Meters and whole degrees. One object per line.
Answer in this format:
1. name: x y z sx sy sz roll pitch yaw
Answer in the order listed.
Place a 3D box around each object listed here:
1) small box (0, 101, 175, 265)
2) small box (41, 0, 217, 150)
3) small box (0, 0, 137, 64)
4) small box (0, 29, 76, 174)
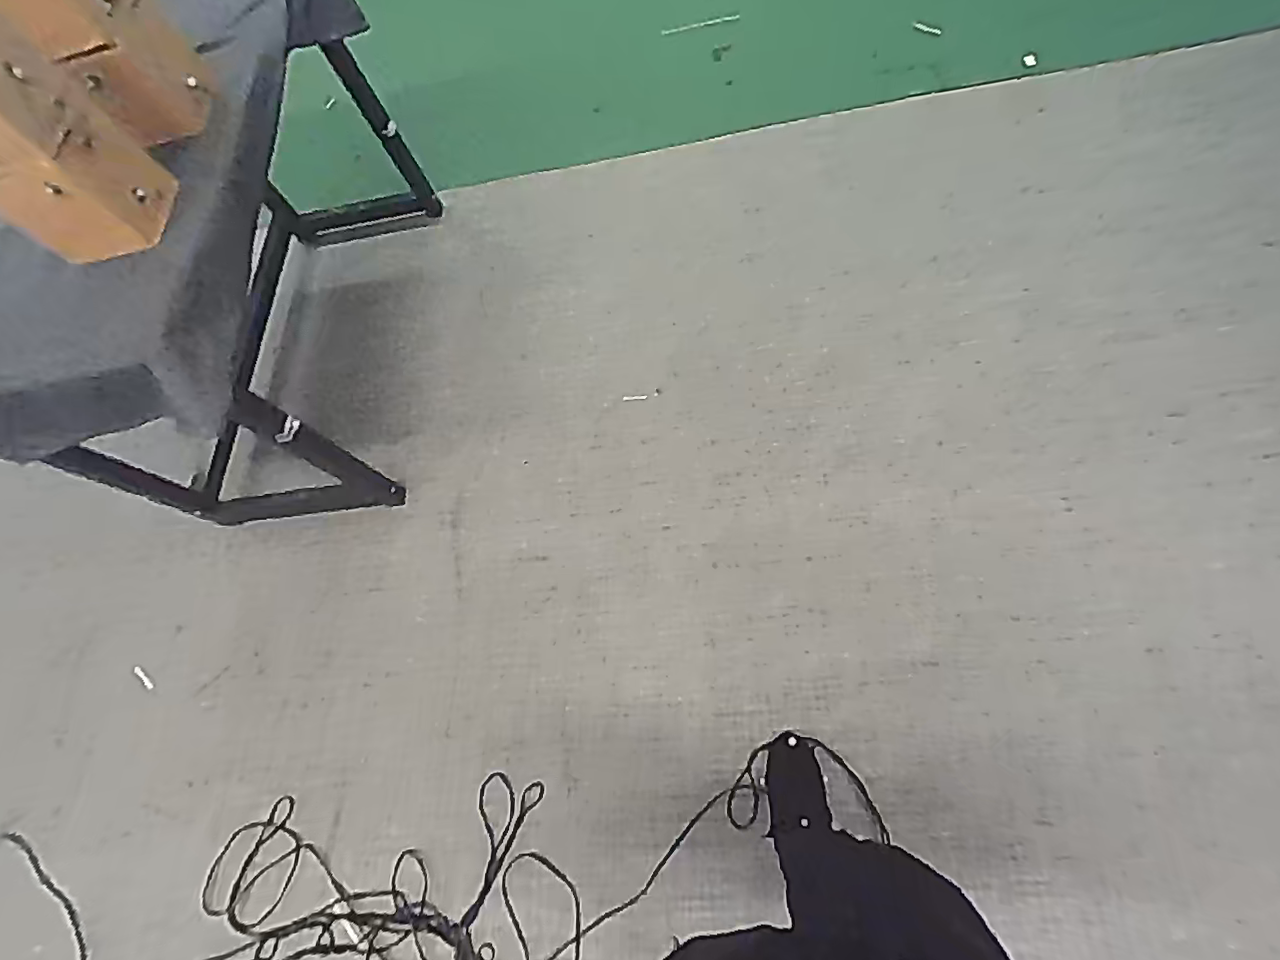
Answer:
1. small box: -0.971 -0.499 0.931 0.179 0.176 0.168 -9 66 6
2. small box: -0.983 -0.775 1.046 0.179 0.176 0.168 -8 67 7
3. small box: -1.011 -0.834 0.897 0.179 0.176 0.168 -7 68 8
4. small box: -0.996 -0.567 0.784 0.179 0.176 0.168 -10 66 5
